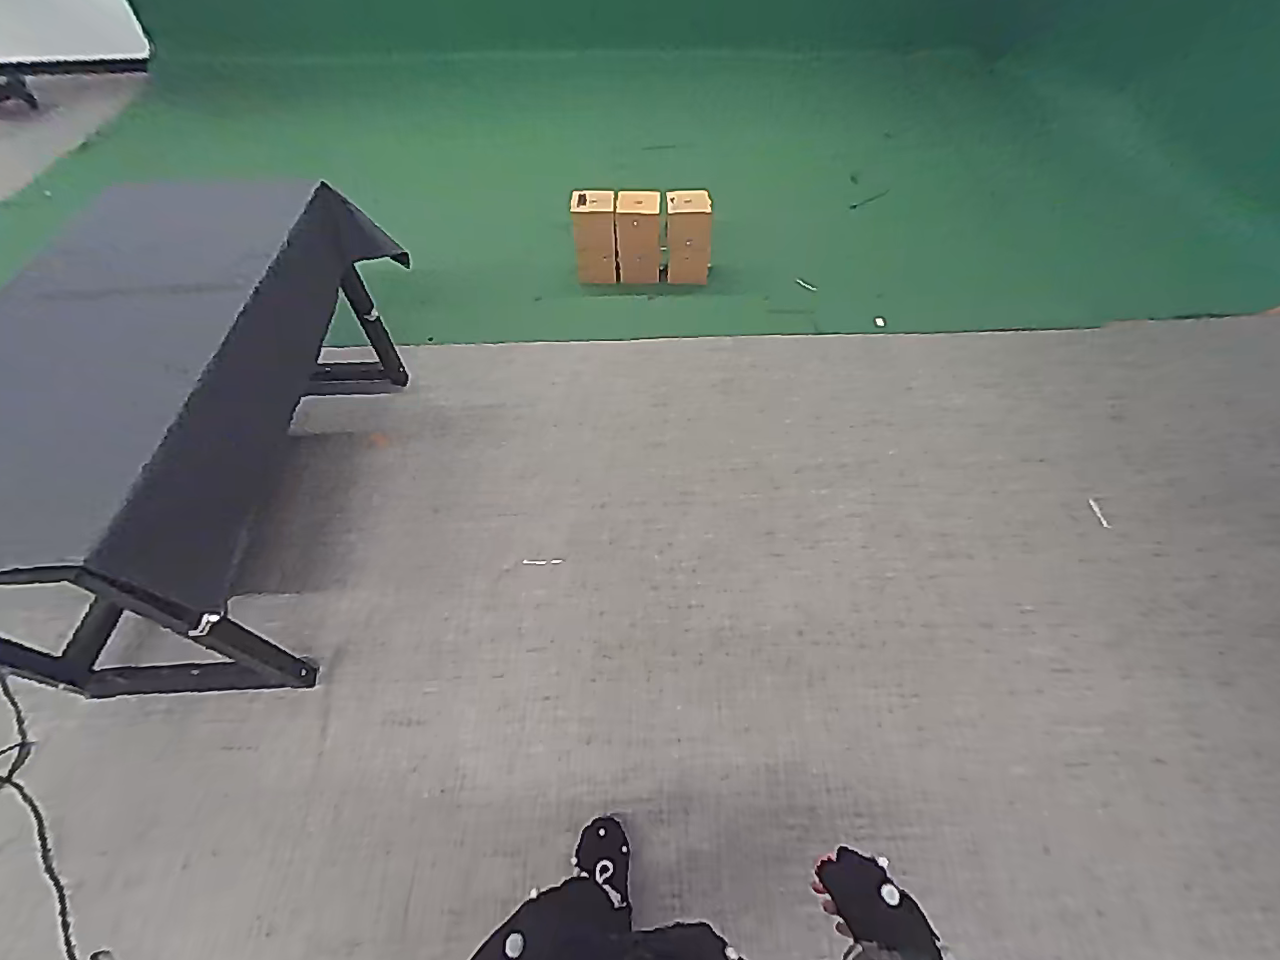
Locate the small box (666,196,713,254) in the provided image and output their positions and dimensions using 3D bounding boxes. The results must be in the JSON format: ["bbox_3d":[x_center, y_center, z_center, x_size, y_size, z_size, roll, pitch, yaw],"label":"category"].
[{"bbox_3d":[0.205,-1.069,2.274,0.179,0.176,0.168,0,54,-1],"label":"small box"}]
